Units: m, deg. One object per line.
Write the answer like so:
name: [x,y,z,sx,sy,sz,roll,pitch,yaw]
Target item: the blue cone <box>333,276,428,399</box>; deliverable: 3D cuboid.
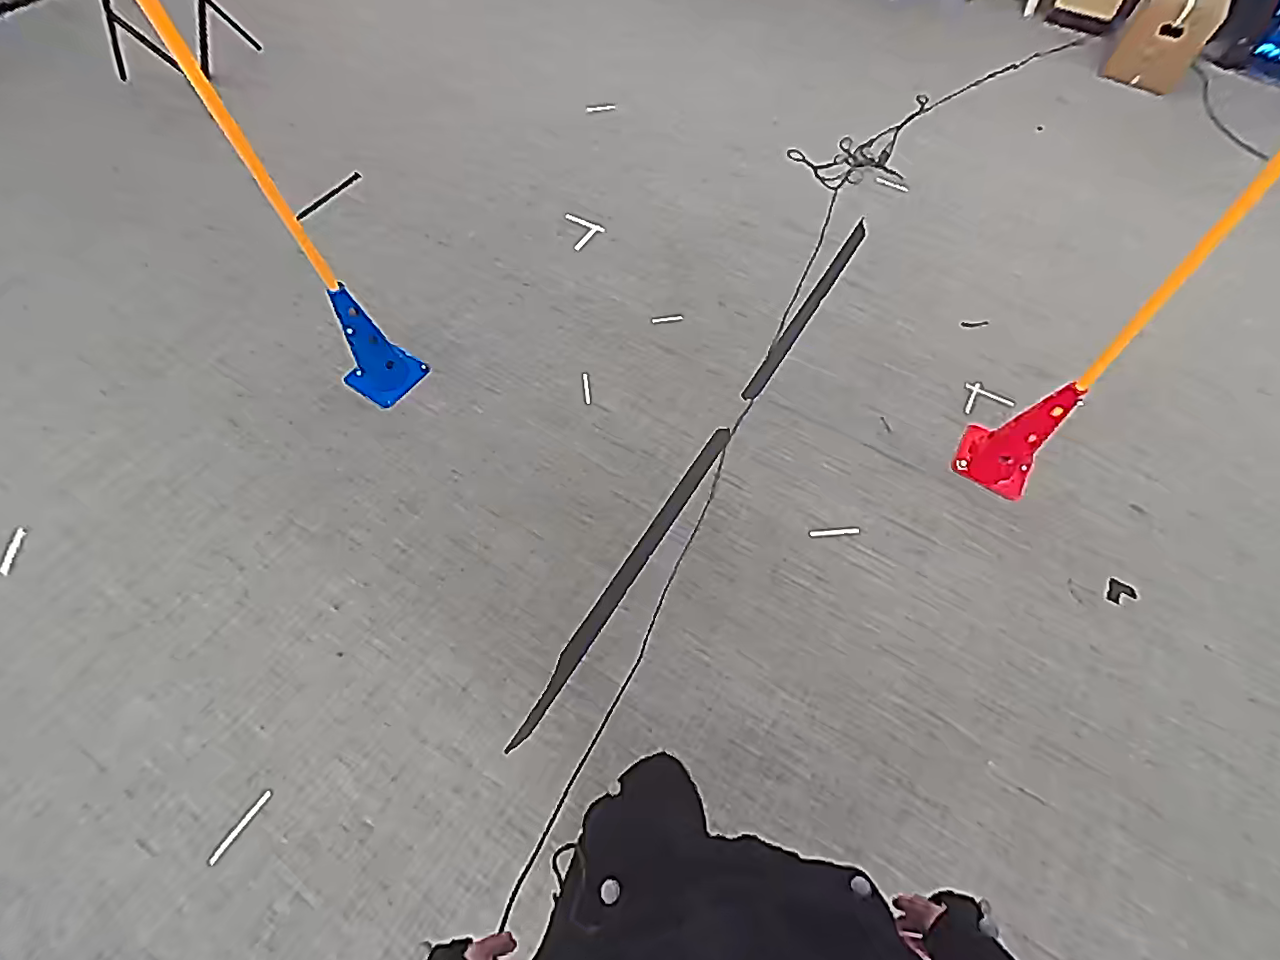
blue cone: [-0.798,-0.428,1.577,0.193,0.380,0.192,33,66,15]
